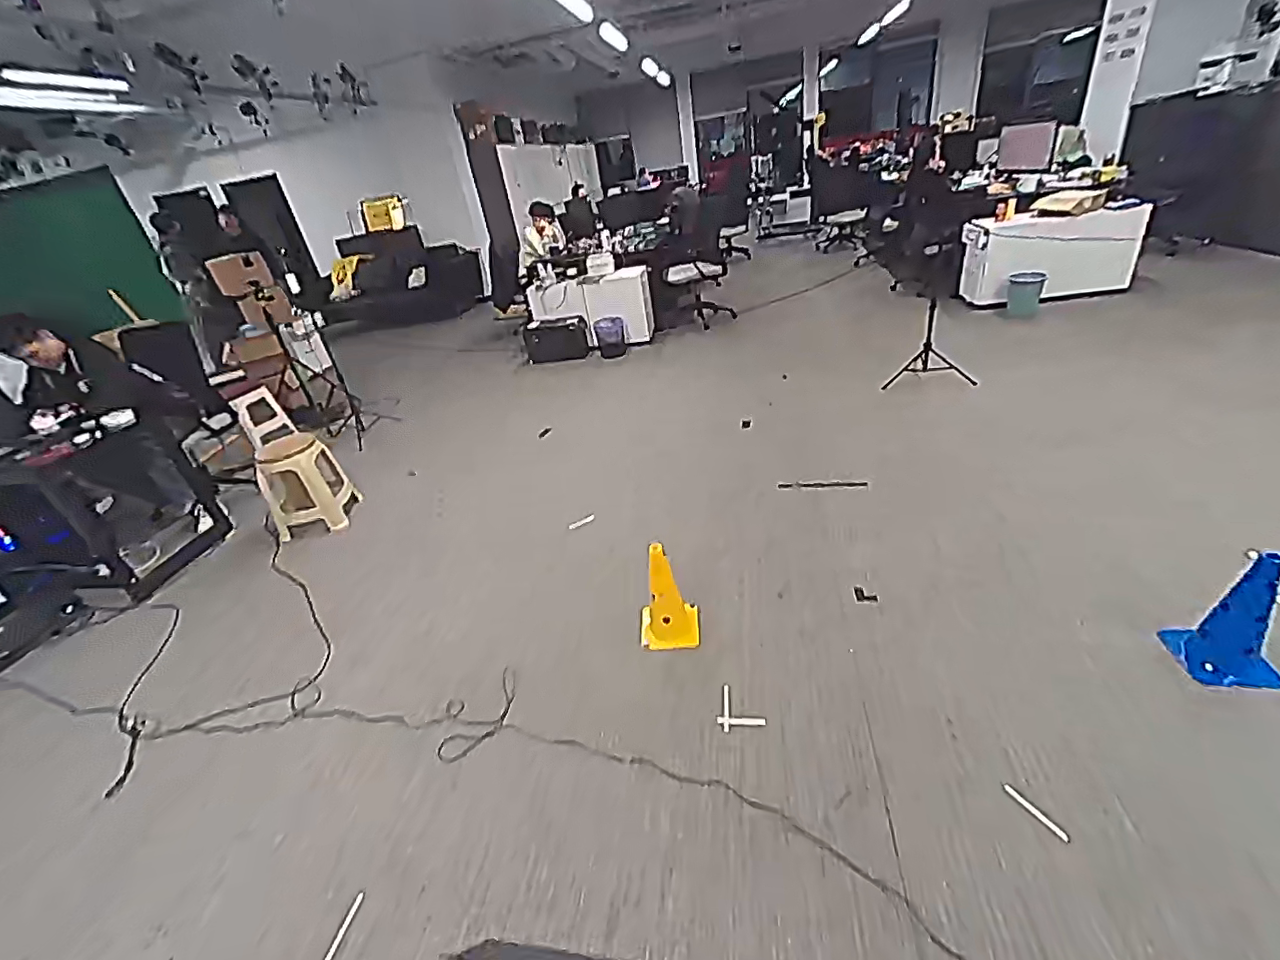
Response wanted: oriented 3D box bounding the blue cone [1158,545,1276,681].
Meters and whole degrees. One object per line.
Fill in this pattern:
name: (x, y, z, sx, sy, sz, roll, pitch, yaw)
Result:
blue cone: (1.562, 0.336, 1.411, 0.193, 0.380, 0.192, -3, 30, 13)
